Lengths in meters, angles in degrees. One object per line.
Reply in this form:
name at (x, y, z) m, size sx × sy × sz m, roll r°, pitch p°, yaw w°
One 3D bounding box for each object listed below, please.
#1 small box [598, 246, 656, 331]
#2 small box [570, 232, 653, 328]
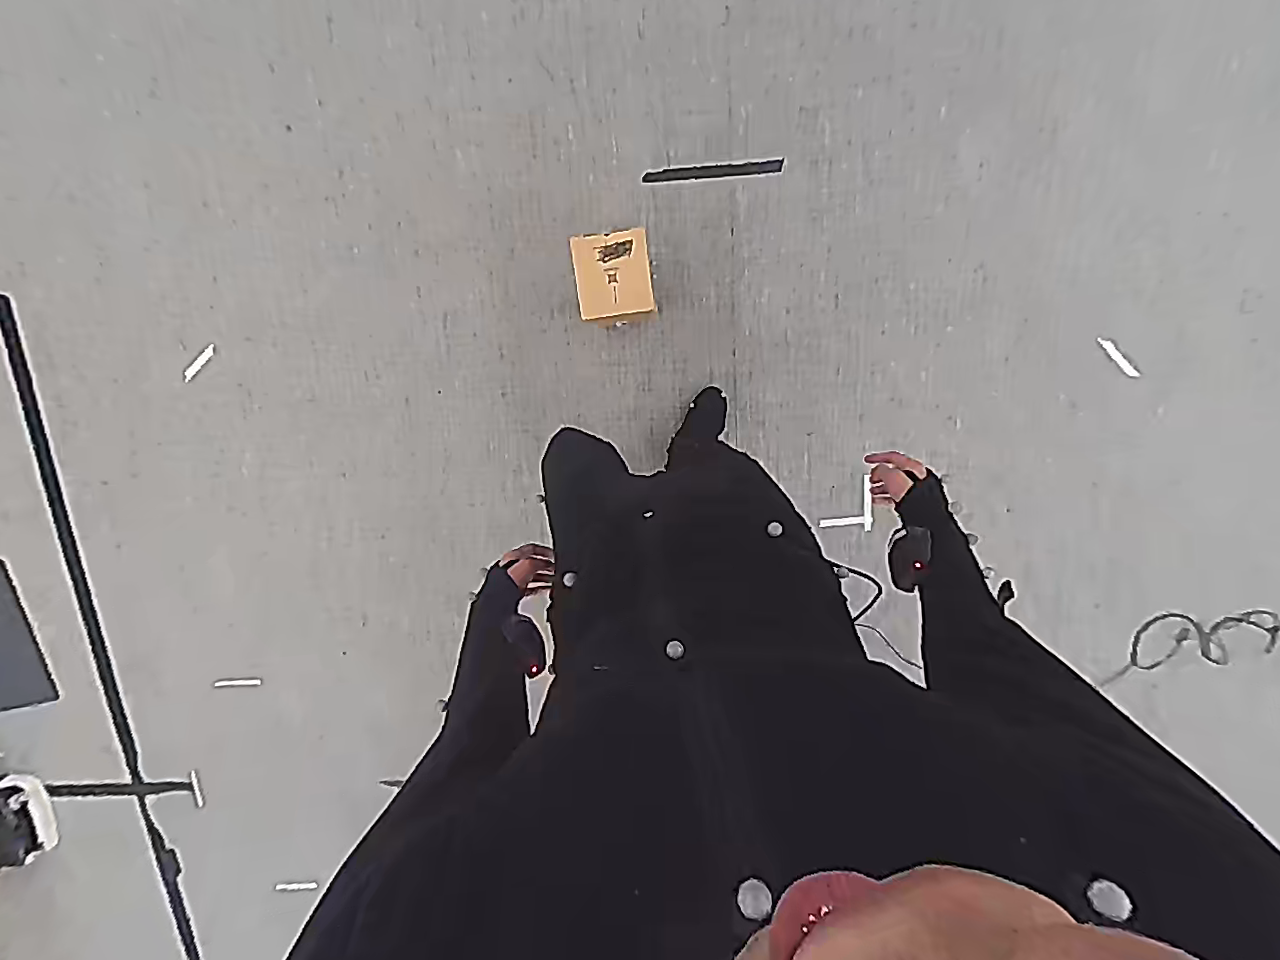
small box at (-0.053, -0.498, 1.422) m, size 0.168 × 0.176 × 0.179 m, roll -9°, pitch 102°, yaw 3°
small box at (-0.062, -0.459, 1.263) m, size 0.168 × 0.176 × 0.179 m, roll -7°, pitch 102°, yaw 3°
